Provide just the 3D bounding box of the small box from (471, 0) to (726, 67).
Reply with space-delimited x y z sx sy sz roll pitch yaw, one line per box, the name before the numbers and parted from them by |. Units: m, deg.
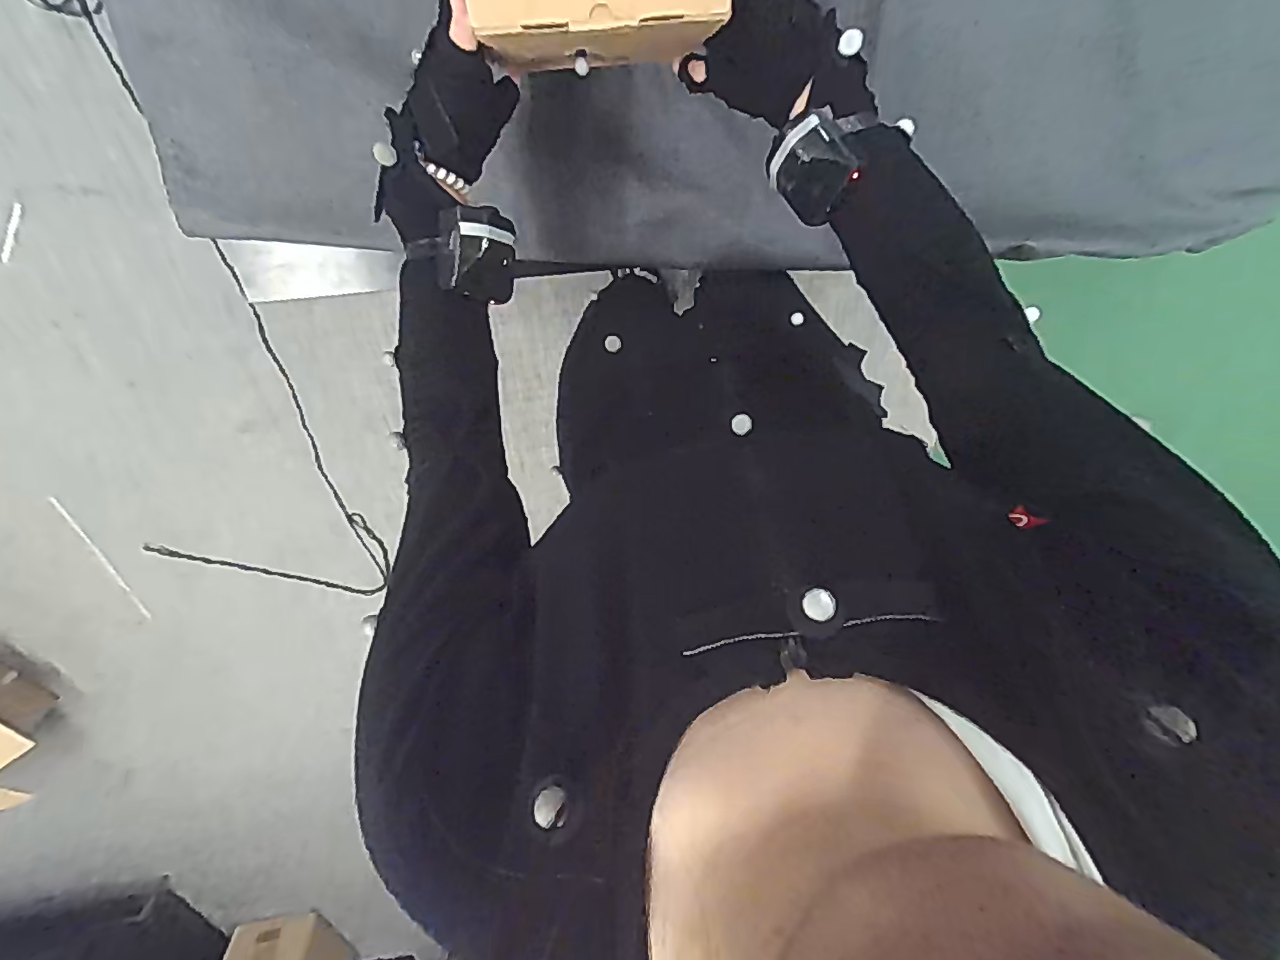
small box | -0.038 -0.408 0.373 0.168 0.176 0.179 -6 123 -3
